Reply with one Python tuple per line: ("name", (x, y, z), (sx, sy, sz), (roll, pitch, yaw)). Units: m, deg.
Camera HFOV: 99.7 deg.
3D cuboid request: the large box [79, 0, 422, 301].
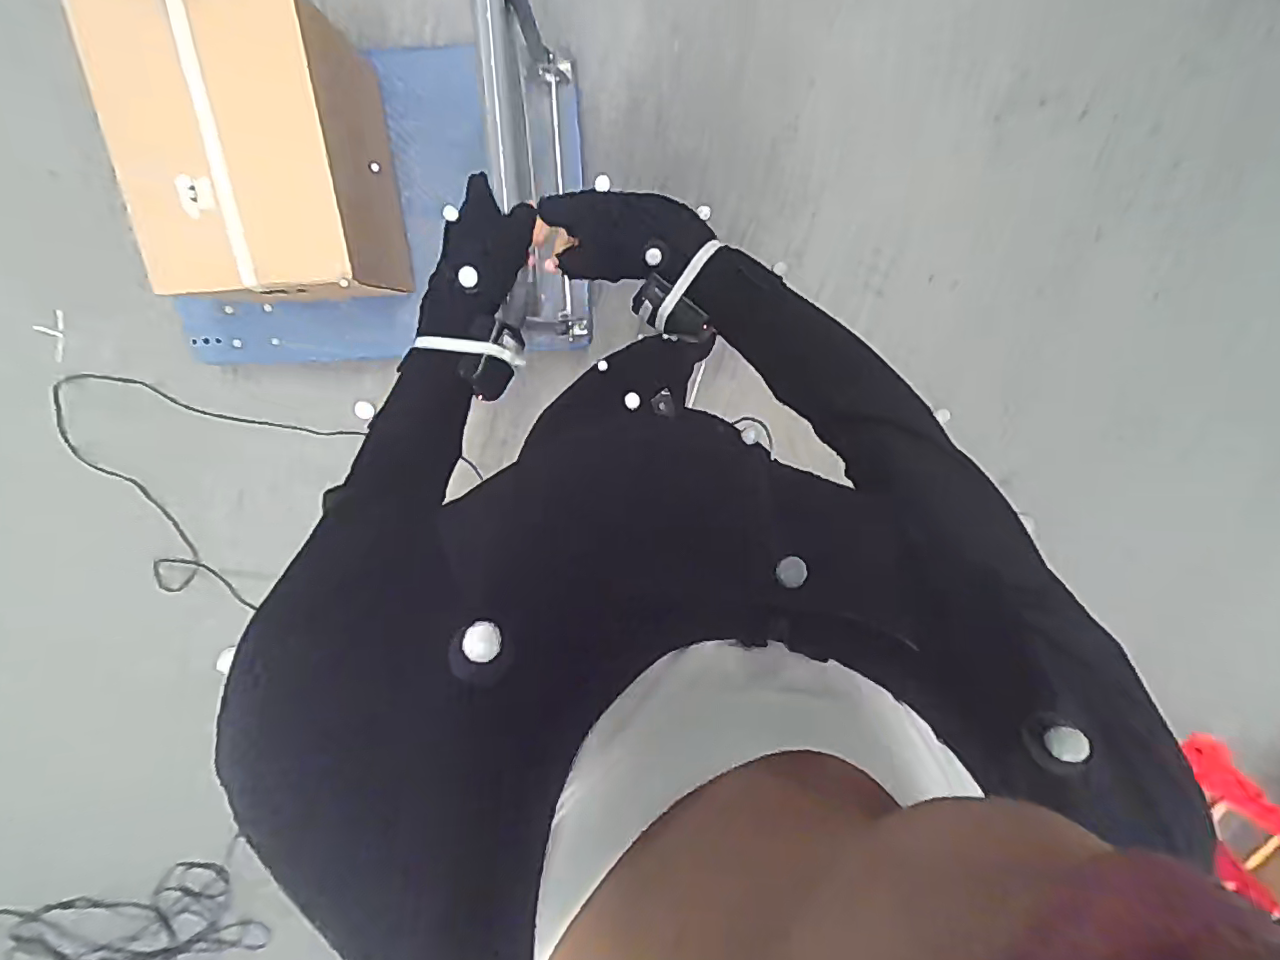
("large box", (-0.621, -0.543, 0.954), (0.320, 0.320, 0.408), (-6, 107, -2))
